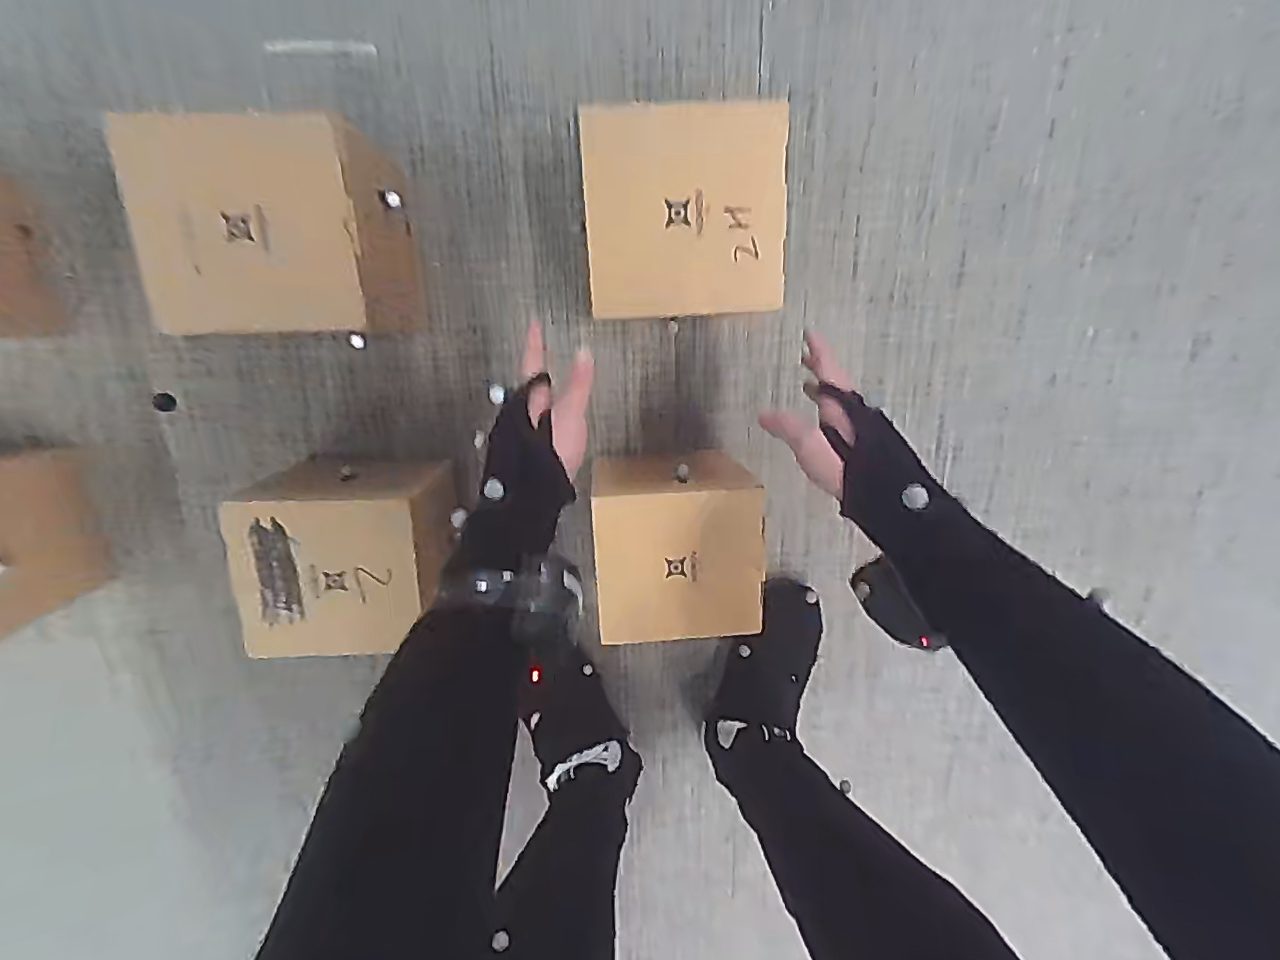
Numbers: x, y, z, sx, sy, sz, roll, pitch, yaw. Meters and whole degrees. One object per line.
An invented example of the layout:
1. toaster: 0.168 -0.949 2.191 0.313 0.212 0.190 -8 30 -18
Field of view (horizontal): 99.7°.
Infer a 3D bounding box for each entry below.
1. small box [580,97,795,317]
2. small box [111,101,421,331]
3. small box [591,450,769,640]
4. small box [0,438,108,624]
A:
1. small box: 0.037 -0.249 0.532 0.179 0.176 0.168 -3 106 -4
2. small box: -0.320 -0.230 0.512 0.179 0.176 0.168 -2 104 -4
3. small box: 0.037 0.063 0.622 0.179 0.176 0.168 -3 105 -4
4. small box: -0.718 0.057 0.560 0.168 0.176 0.179 -1 105 -4
